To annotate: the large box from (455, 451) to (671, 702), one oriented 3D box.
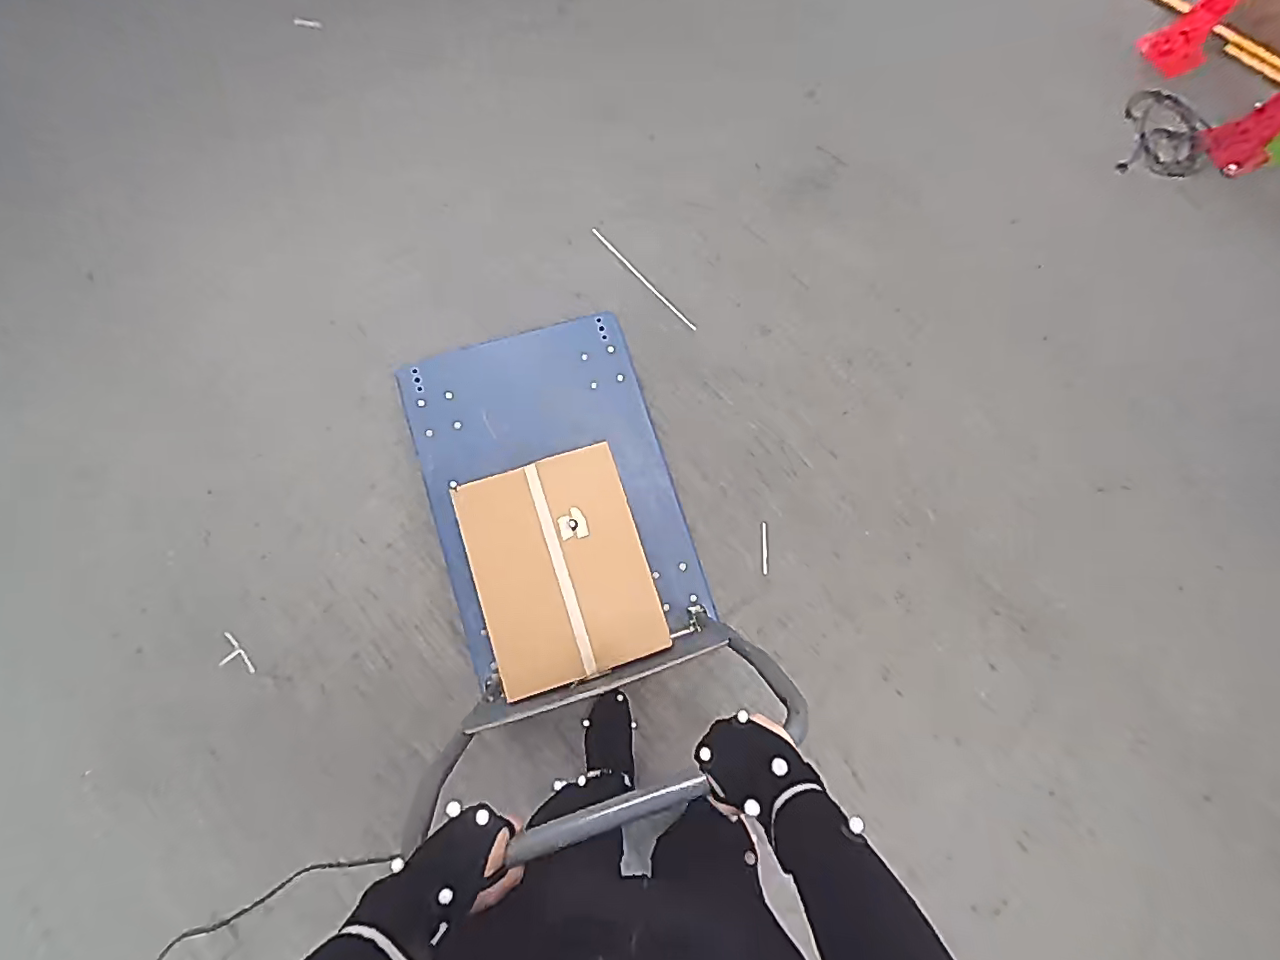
[{"bbox_3d":[-0.152,0.199,1.165,0.320,0.320,0.408,-18,81,-6],"label":"large box"}]
